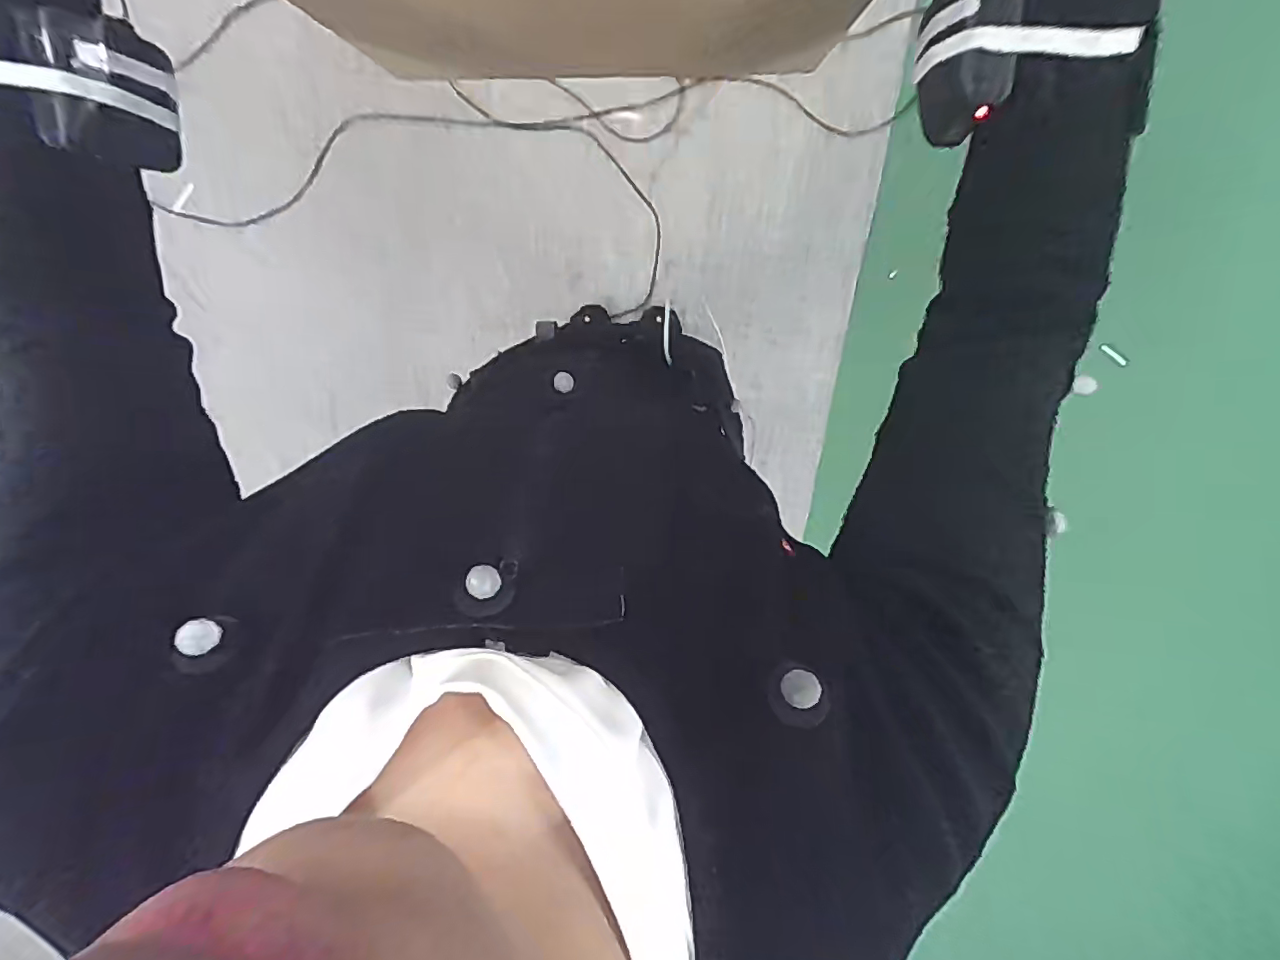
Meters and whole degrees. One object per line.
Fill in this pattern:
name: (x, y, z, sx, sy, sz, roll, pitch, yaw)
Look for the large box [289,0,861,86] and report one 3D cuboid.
large box: (-0.042, -0.469, 0.318, 0.408, 0.320, 0.320, -1, 112, 1)
